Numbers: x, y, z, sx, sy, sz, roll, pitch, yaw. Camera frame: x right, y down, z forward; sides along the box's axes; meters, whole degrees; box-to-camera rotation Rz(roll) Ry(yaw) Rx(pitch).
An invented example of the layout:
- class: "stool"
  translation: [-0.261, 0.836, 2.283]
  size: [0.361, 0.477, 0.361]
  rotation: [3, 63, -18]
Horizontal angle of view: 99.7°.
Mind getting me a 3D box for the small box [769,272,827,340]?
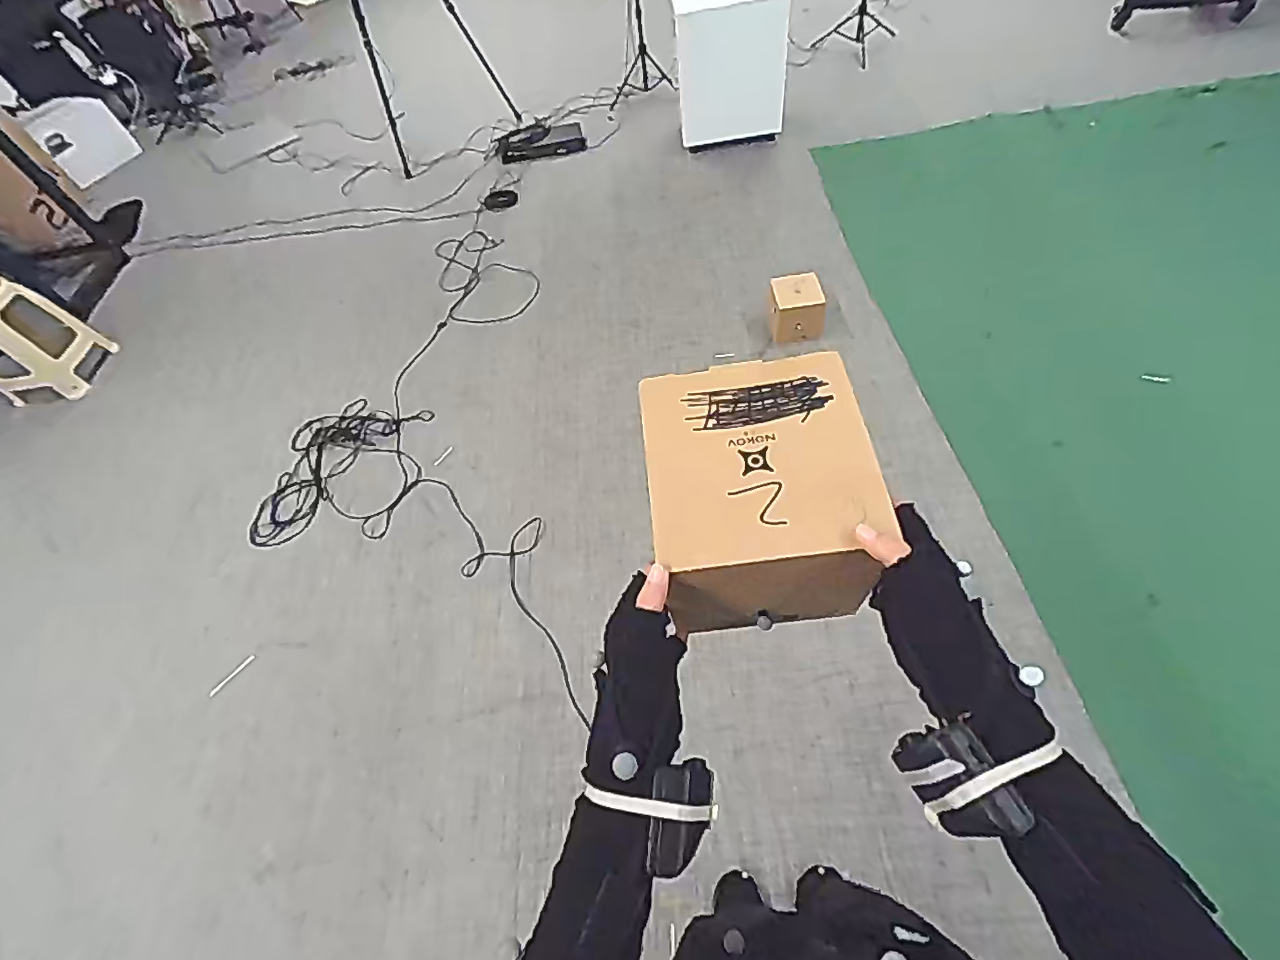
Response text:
- class: "small box"
  translation: [0.577, -0.633, 1.993]
  size: [0.168, 0.176, 0.179]
  rotation: [-7, 56, 4]
